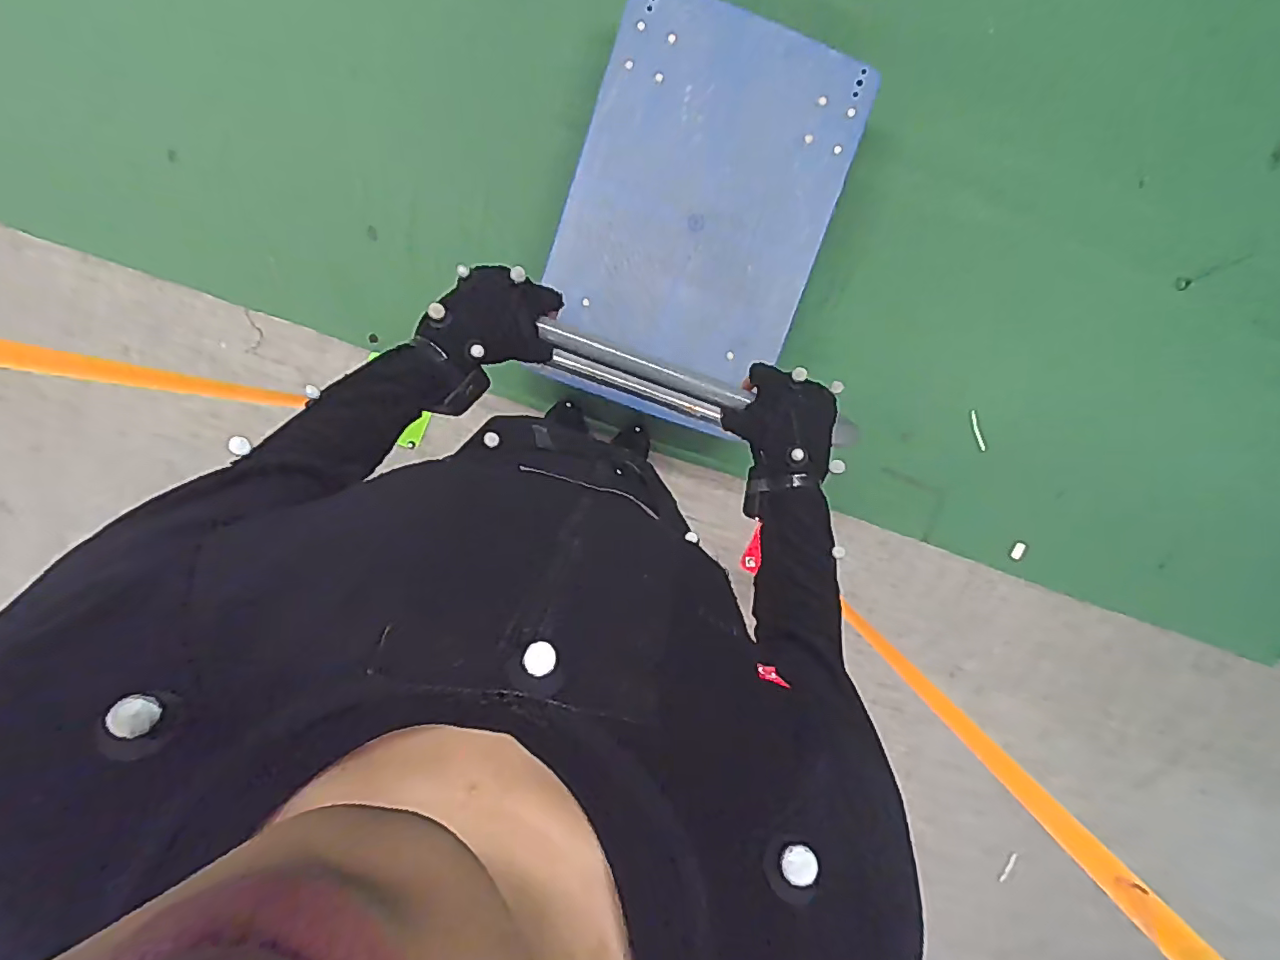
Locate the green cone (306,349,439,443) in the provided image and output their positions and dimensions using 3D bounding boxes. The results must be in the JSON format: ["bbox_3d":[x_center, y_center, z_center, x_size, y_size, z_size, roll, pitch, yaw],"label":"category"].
[{"bbox_3d":[-0.646,-0.196,1.253,0.202,0.368,0.200,24,97,-5],"label":"green cone"}]
